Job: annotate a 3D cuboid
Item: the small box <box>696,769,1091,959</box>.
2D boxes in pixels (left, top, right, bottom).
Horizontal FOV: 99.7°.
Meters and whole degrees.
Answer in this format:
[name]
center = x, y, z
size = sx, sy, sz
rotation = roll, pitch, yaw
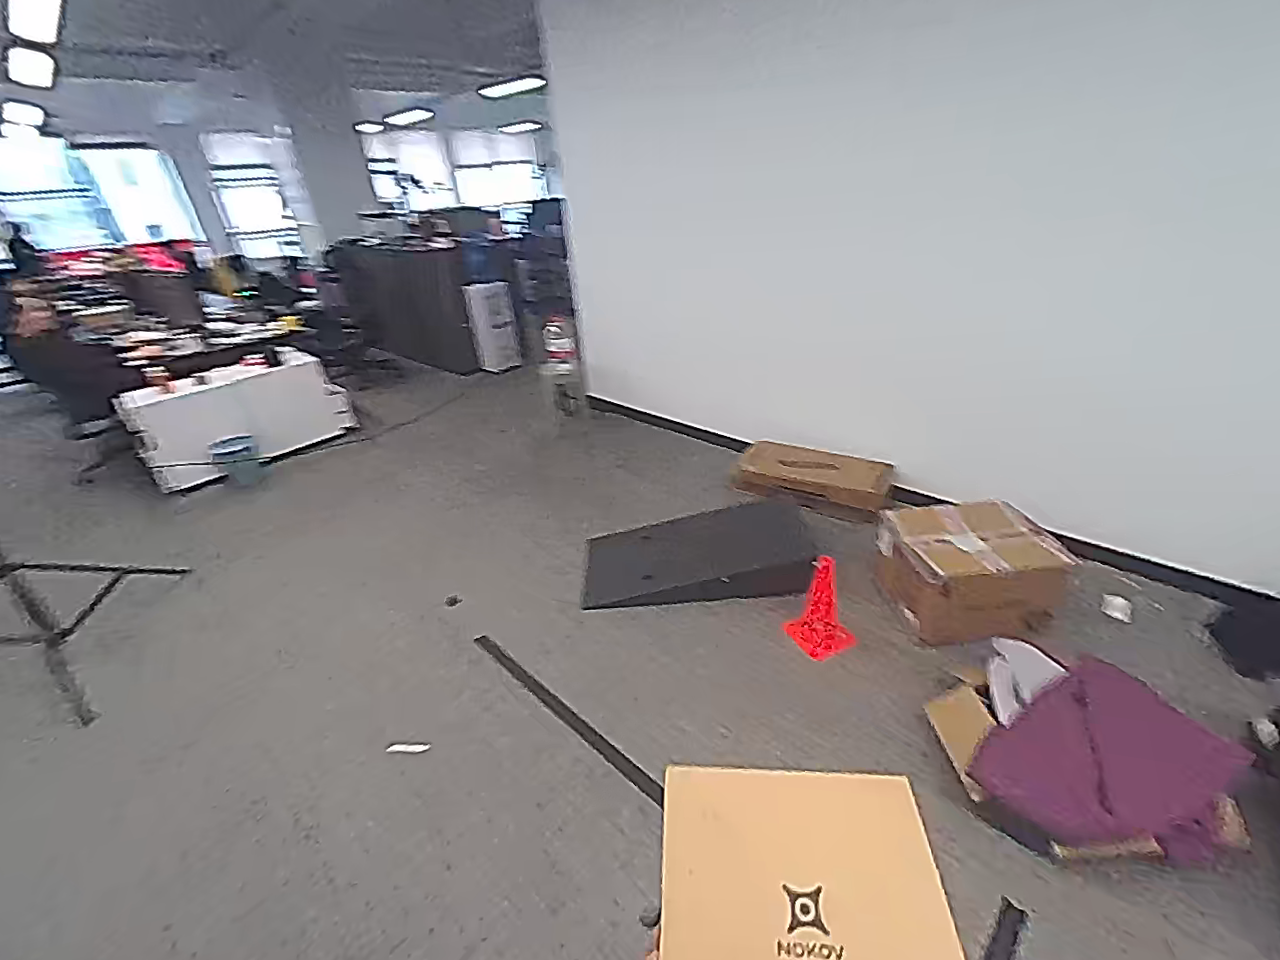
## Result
[small box]
center = 0.113, 0.275, 0.273
size = 0.168, 0.176, 0.179
rotation = -2, 37, 4
